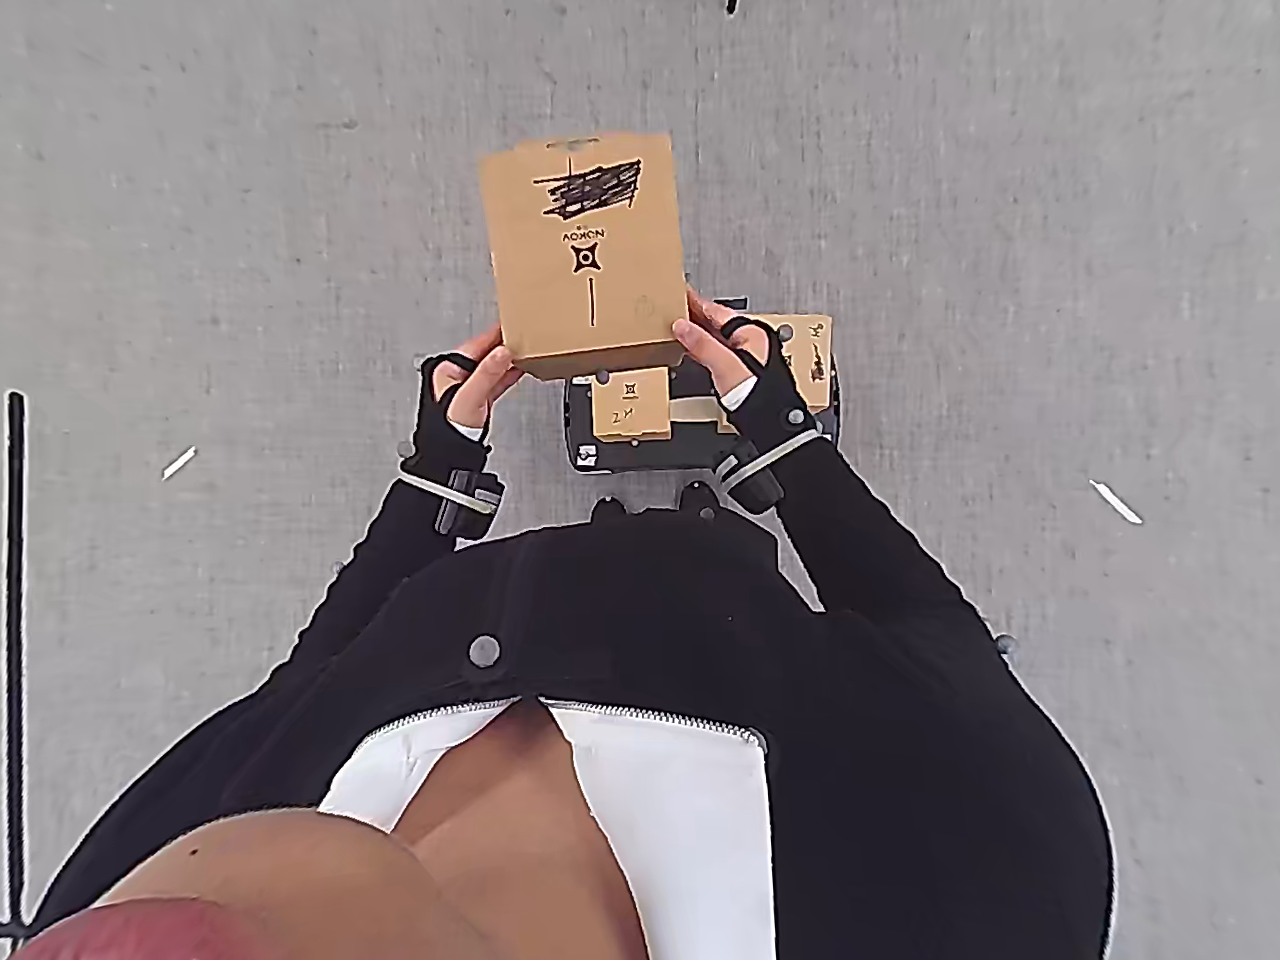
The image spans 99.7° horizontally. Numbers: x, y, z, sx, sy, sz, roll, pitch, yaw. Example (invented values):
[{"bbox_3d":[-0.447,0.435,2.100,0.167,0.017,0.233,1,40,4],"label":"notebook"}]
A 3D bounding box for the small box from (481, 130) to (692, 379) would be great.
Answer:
[{"bbox_3d":[-0.046,-0.205,0.539,0.168,0.176,0.179,-7,95,1],"label":"small box"}]

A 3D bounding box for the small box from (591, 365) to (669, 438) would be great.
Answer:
[{"bbox_3d":[-0.020,-0.186,1.223,0.168,0.176,0.179,-2,90,4],"label":"small box"}]

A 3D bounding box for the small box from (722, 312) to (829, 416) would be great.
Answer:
[{"bbox_3d":[0.253,-0.216,1.045,0.179,0.176,0.168,2,90,4],"label":"small box"}]

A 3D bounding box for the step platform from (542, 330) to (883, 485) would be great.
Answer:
[{"bbox_3d":[0.144,-0.143,1.178,0.684,0.204,0.286,-2,89,3],"label":"step platform"}]

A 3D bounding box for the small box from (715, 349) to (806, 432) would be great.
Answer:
[{"bbox_3d":[0.260,-0.194,1.207,0.179,0.176,0.168,-1,88,3],"label":"small box"}]
